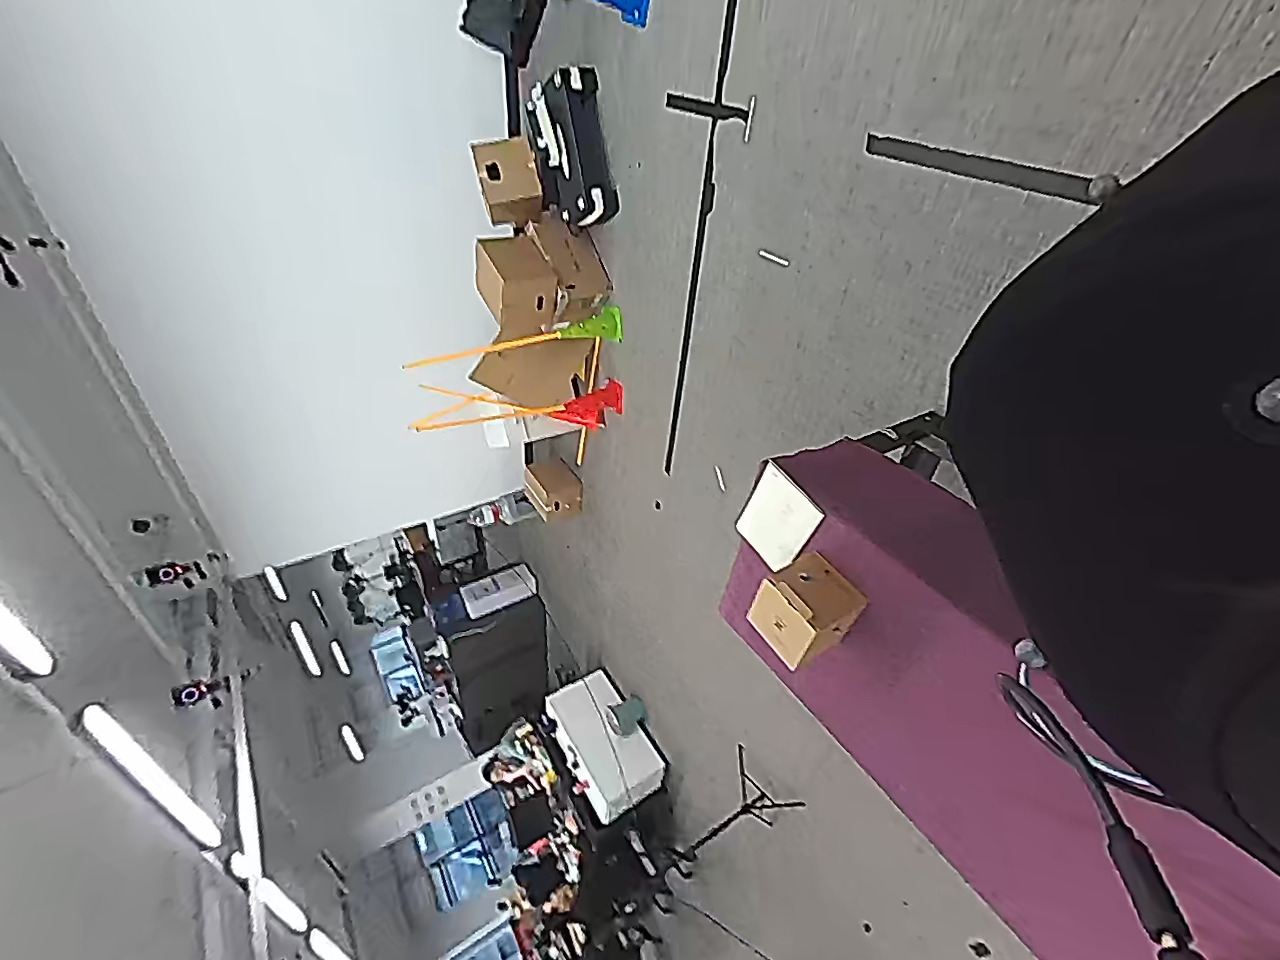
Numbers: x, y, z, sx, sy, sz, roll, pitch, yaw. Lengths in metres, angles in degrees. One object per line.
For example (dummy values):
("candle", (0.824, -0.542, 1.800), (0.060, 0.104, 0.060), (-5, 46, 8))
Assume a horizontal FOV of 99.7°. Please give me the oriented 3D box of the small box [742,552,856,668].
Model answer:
("small box", (0.373, 0.298, 1.268), (0.168, 0.176, 0.179), (50, 145, 34))
